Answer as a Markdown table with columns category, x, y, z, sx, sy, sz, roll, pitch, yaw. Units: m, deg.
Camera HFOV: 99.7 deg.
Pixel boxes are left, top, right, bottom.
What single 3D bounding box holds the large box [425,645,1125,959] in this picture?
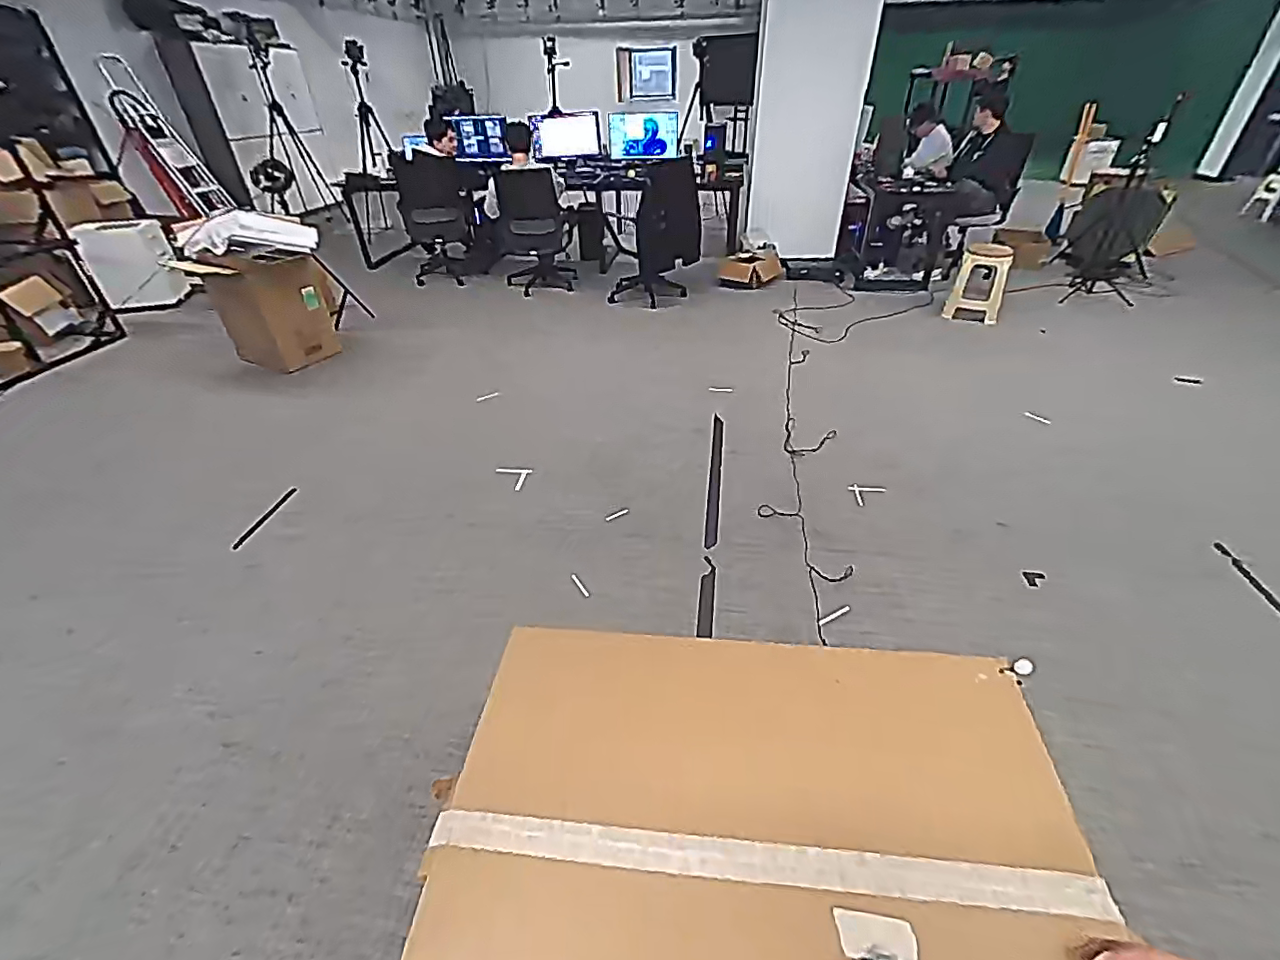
| category | x | y | z | sx | sy | sz | roll | pitch | yaw |
| --- | --- | --- | --- | --- | --- | --- | --- | --- | --- |
| large box | 0.082 | 0.360 | 0.437 | 0.408 | 0.320 | 0.320 | 2 | 42 | 6 |
